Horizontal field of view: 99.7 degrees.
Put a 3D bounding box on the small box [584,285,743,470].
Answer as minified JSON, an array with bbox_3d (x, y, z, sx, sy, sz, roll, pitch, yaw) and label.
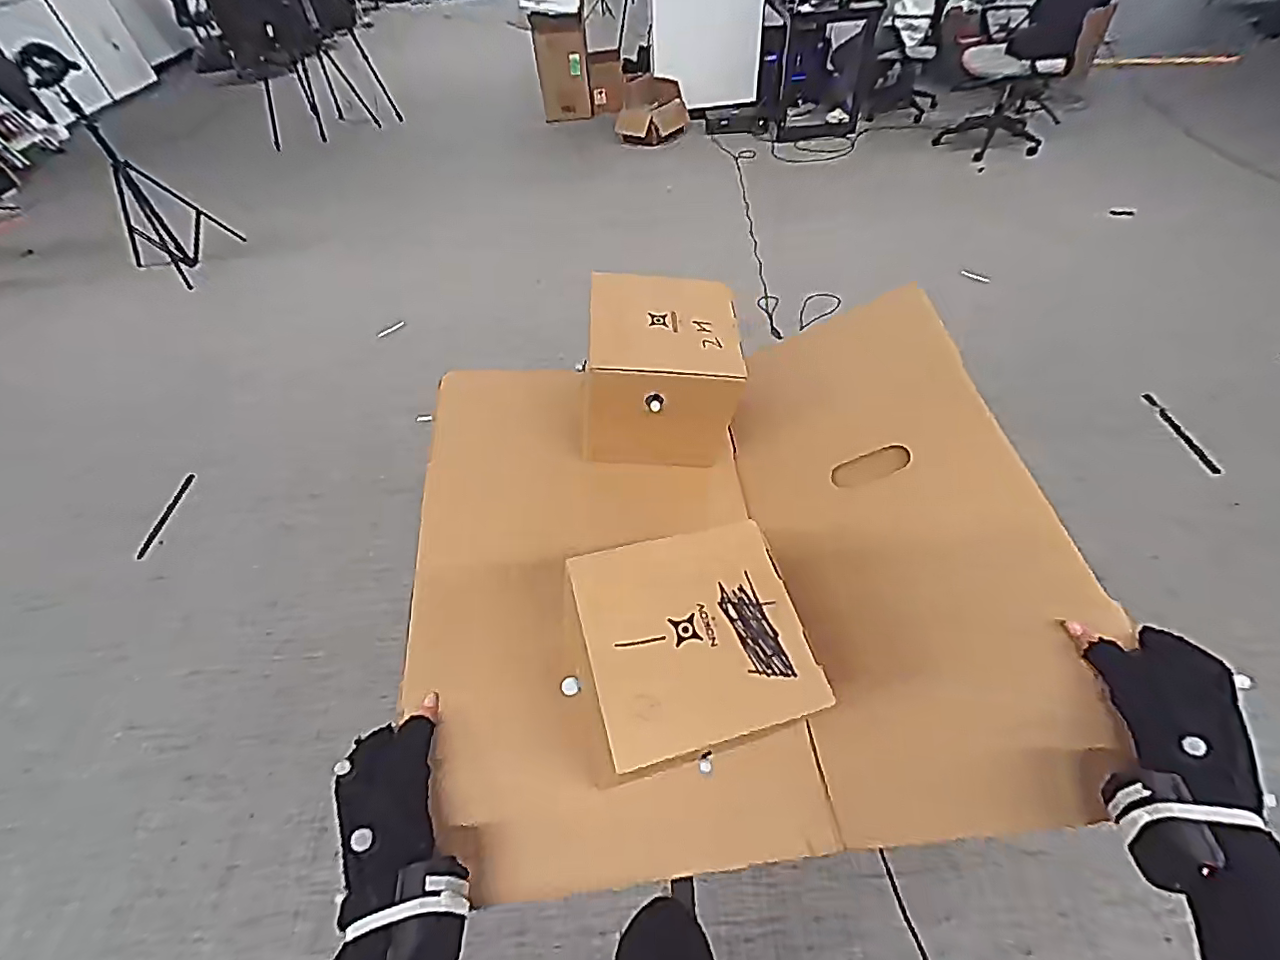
[{"bbox_3d":[0.019,-0.126,0.699,0.179,0.176,0.168,3,56,-7],"label":"small box"}]

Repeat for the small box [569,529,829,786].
[{"bbox_3d":[0.035,0.168,0.503,0.179,0.176,0.168,-10,59,-14],"label":"small box"}]
